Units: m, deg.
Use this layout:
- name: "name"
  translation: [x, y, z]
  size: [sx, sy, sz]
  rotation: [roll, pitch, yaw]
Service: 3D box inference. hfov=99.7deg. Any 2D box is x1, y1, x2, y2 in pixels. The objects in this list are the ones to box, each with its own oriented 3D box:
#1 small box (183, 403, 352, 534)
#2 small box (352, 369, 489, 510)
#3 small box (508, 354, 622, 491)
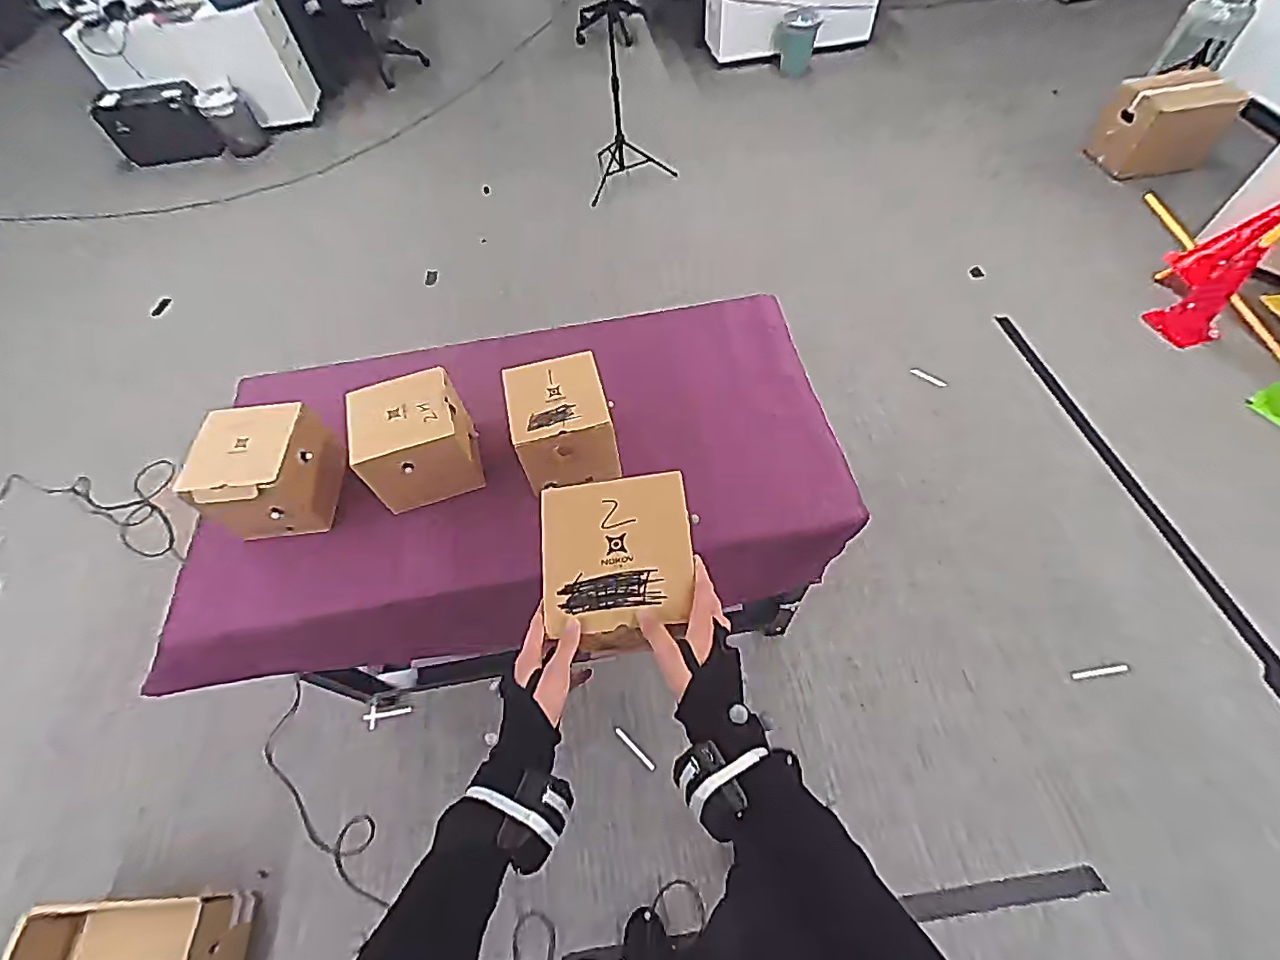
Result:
- name: "small box"
  translation: [-0.651, -0.013, 0.973]
  size: [0.168, 0.176, 0.179]
  rotation: [-5, 57, 0]
- name: "small box"
  translation: [-0.396, -0.068, 0.988]
  size: [0.179, 0.176, 0.168]
  rotation: [-17, 58, -7]
- name: "small box"
  translation: [-0.133, -0.096, 0.988]
  size: [0.168, 0.176, 0.179]
  rotation: [-13, 56, -5]
